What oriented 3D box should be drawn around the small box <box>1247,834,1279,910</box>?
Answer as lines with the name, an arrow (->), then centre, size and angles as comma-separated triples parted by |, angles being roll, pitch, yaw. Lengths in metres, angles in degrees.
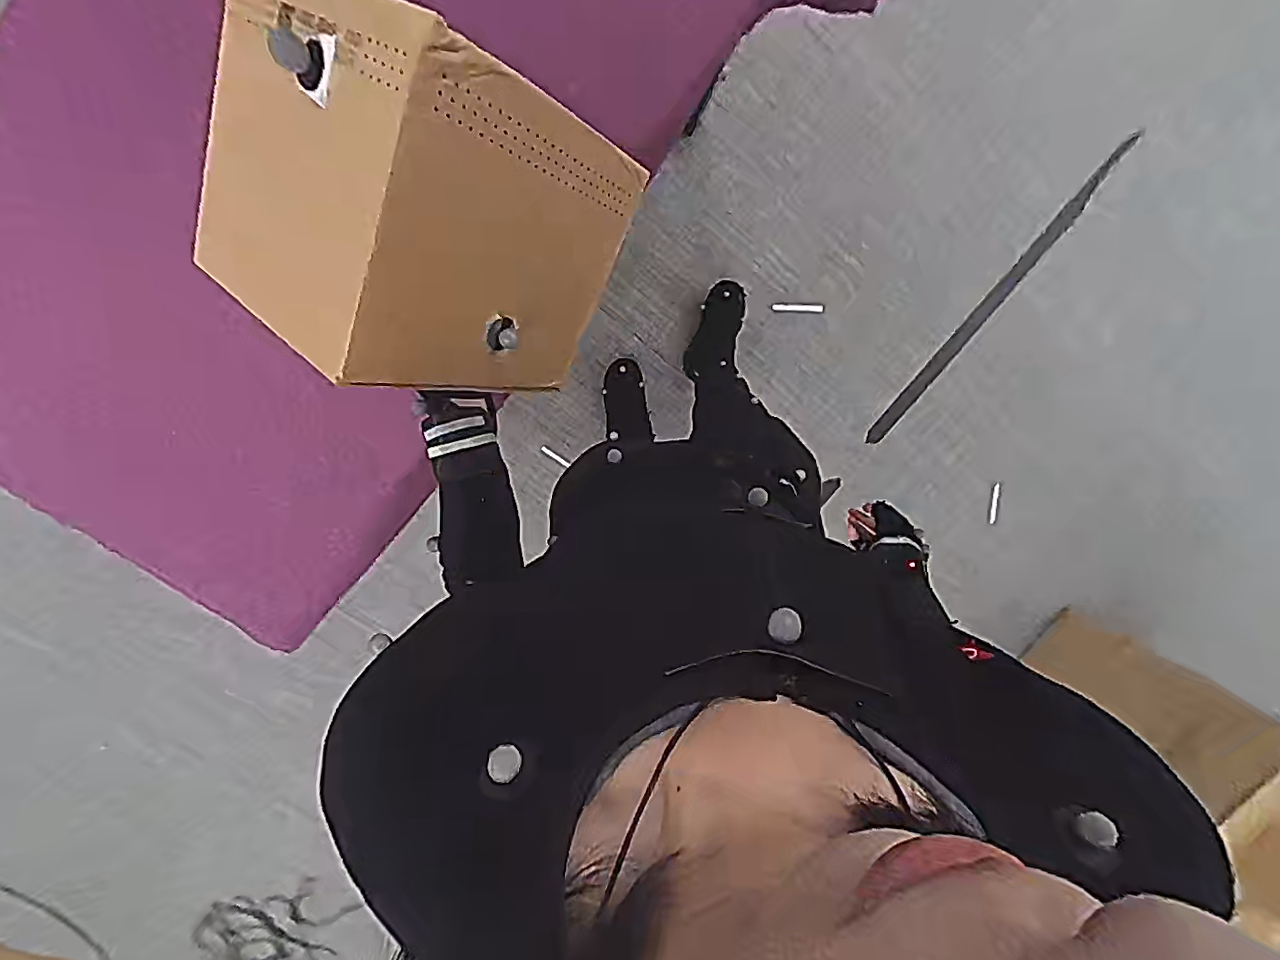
small box -> 1.429, 0.854, 1.107 | 0.168, 0.176, 0.179 | 28, 100, -9

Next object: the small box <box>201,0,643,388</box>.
small box -> -0.126, -0.174, 0.338 | 0.168, 0.179, 0.176 | 35, 112, 24
